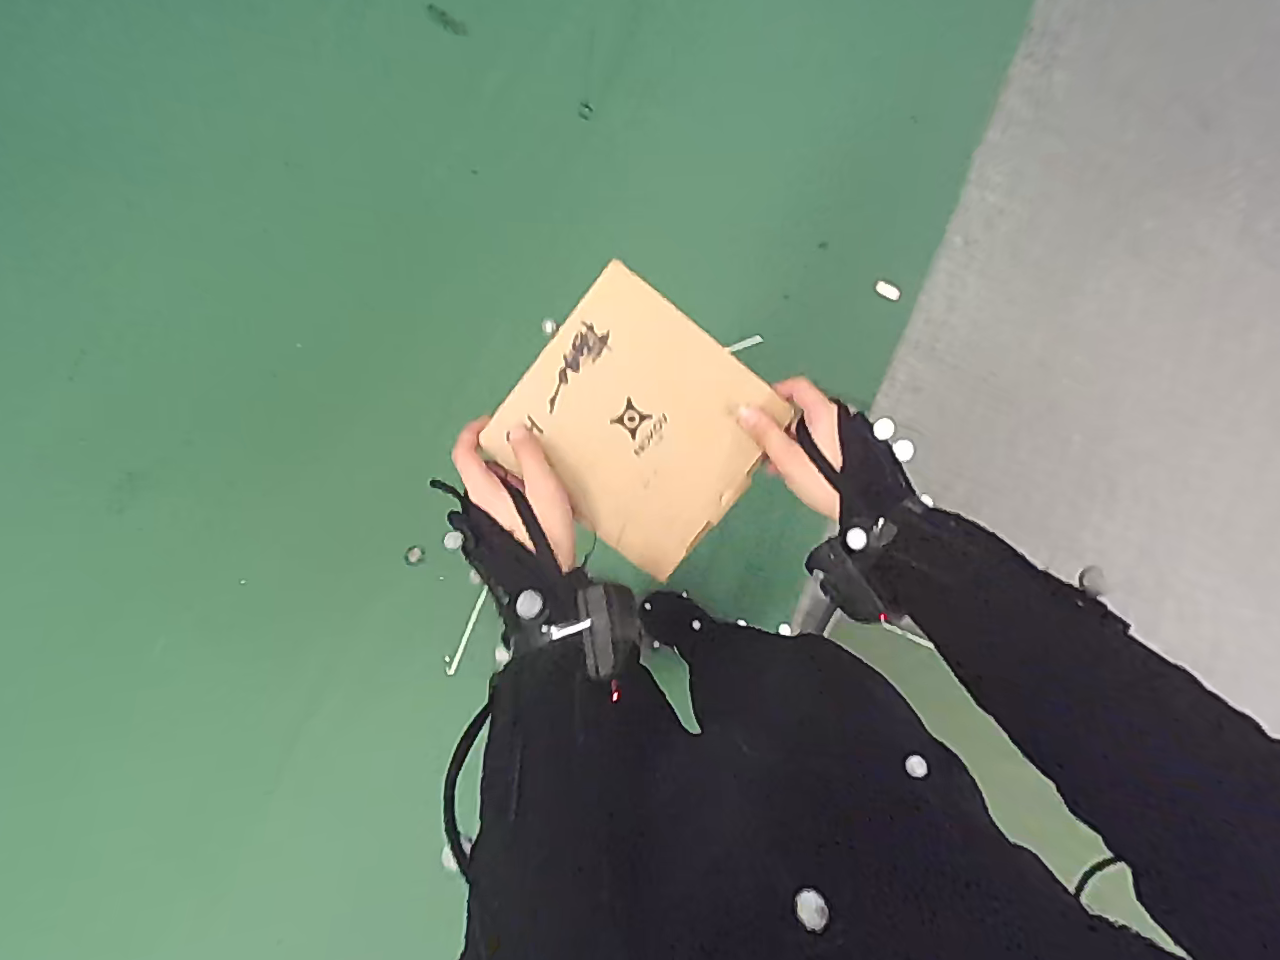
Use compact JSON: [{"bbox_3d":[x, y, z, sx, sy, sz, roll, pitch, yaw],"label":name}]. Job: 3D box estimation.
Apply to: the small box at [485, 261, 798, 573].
[{"bbox_3d":[-0.003,-0.053,0.474,0.179,0.176,0.168,39,92,-9],"label":"small box"}]
